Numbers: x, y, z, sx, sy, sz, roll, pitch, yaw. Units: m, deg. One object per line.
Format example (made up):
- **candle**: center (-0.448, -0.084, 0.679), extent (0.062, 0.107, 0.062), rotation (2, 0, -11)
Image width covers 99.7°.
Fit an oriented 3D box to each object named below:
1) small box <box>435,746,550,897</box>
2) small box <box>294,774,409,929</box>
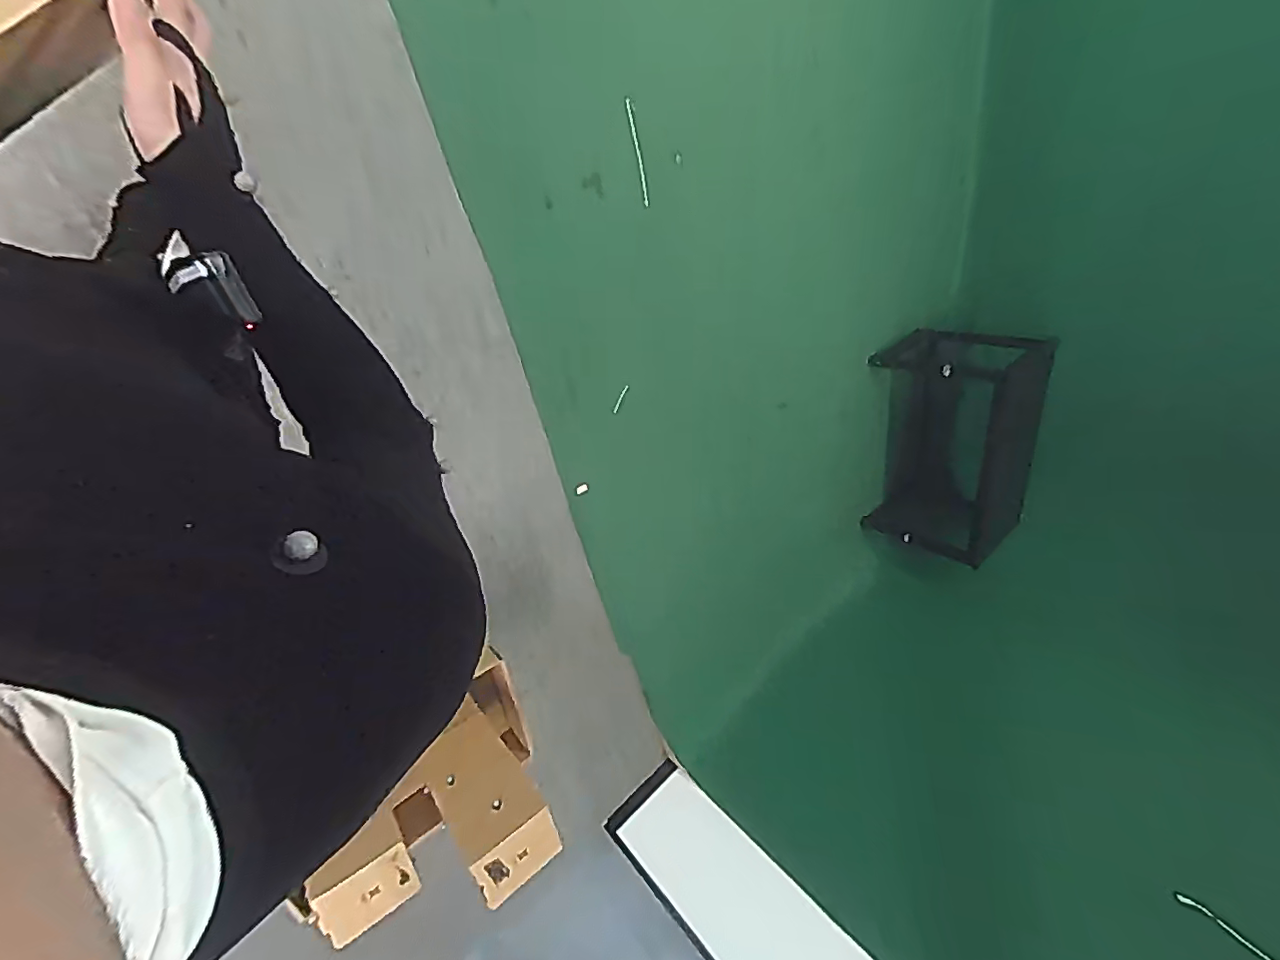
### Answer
- **small box**: center (-0.323, 0.725, 1.166), extent (0.179, 0.176, 0.168), rotation (-26, 123, -30)
- **small box**: center (-0.625, 0.789, 1.165), extent (0.179, 0.176, 0.168), rotation (-20, 120, -31)
